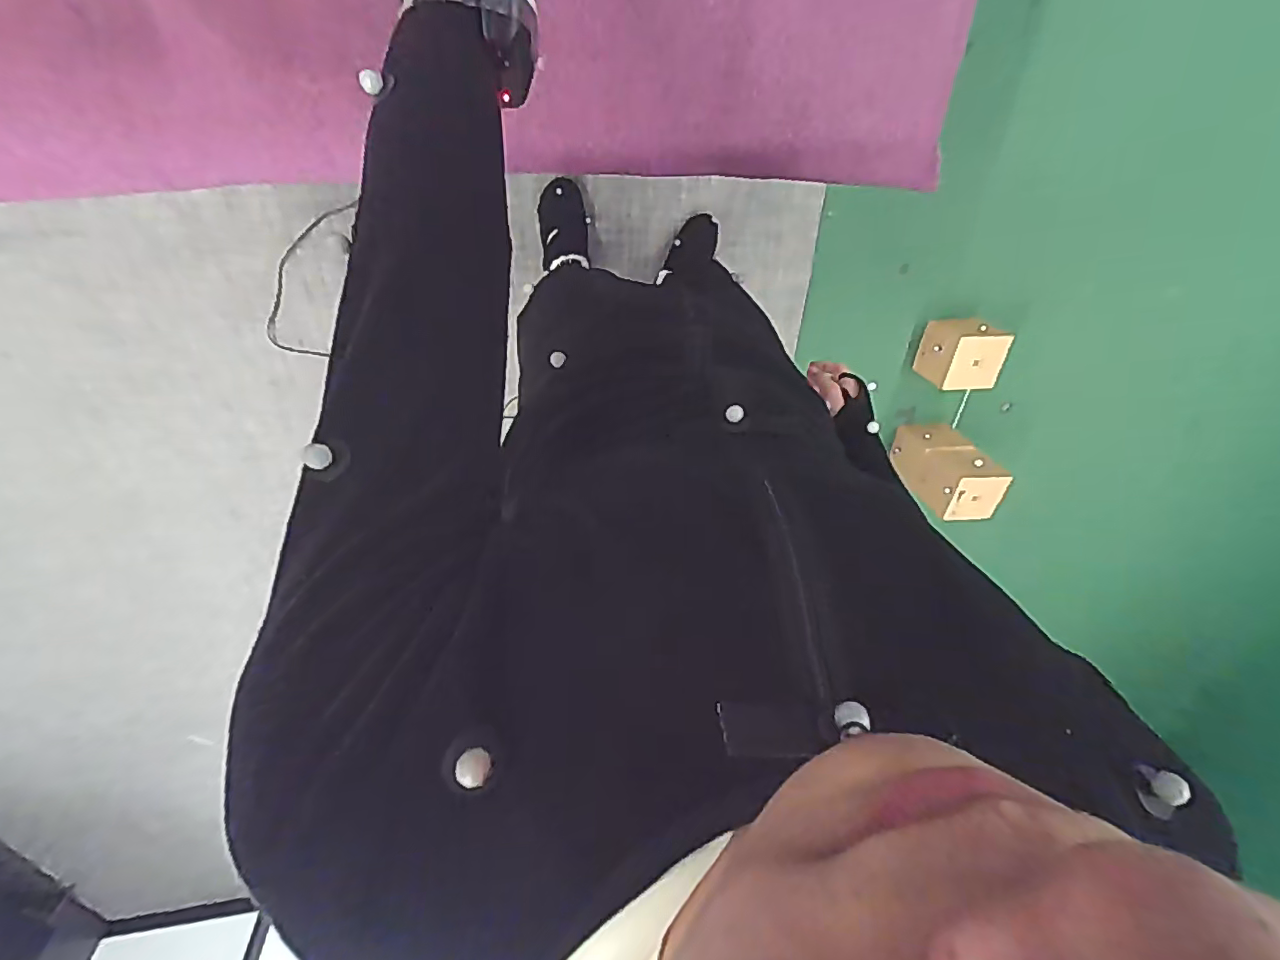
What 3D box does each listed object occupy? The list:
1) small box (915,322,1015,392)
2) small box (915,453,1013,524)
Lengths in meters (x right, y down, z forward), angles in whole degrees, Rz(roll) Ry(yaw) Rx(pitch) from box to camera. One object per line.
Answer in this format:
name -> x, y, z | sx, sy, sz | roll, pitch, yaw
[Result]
small box -> 0.980, -0.379, 1.651 | 0.179, 0.176, 0.168 | -4, 124, -9
small box -> 1.028, 0.022, 1.728 | 0.179, 0.176, 0.168 | -1, 124, -10
